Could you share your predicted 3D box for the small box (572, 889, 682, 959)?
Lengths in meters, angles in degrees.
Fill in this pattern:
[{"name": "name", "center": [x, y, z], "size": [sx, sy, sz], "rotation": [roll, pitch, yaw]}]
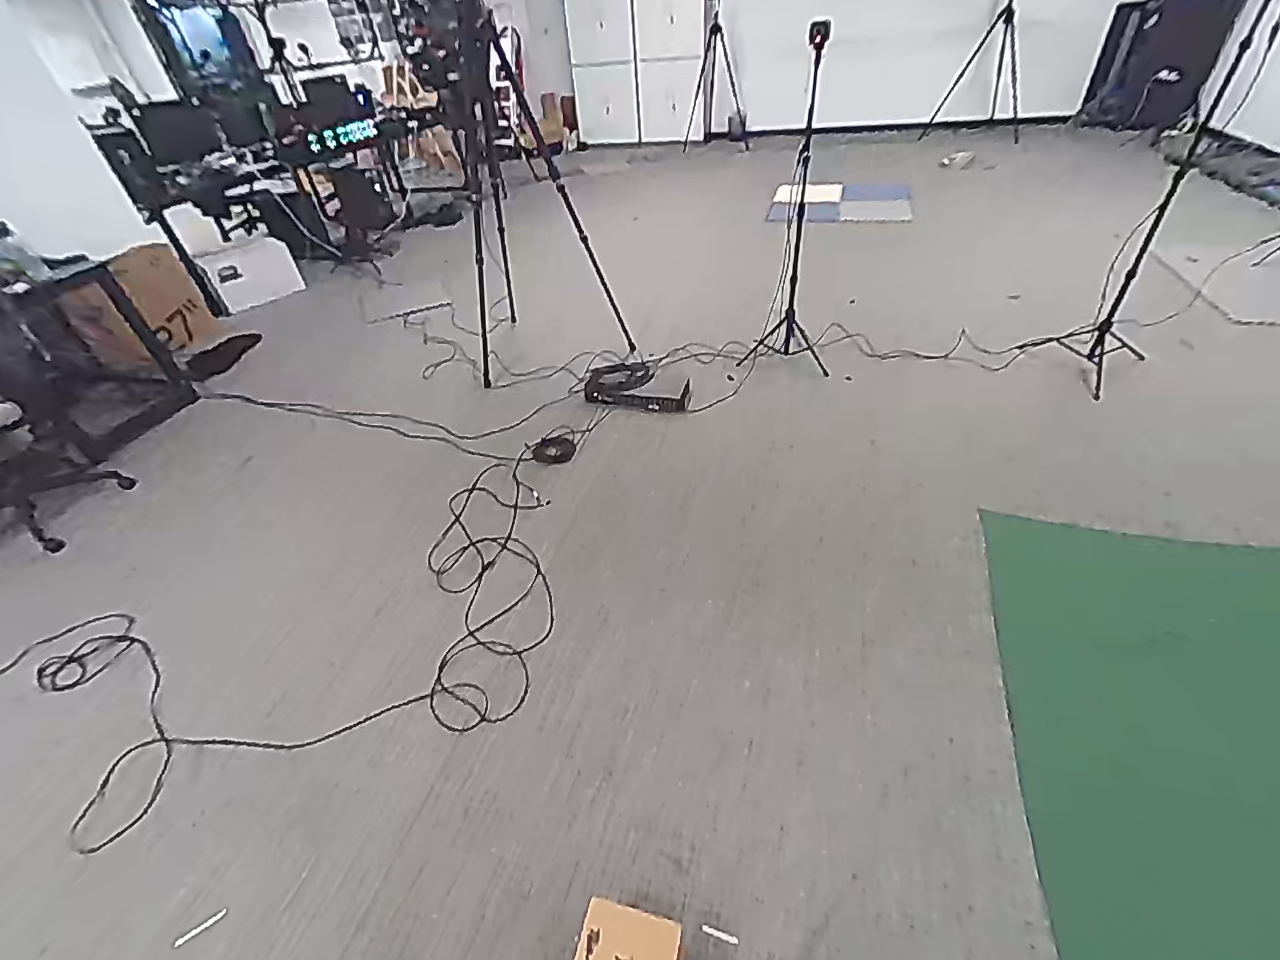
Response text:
[{"name": "small box", "center": [-0.023, 0.883, 0.984], "size": [0.179, 0.176, 0.168], "rotation": [7, 44, 14]}]
